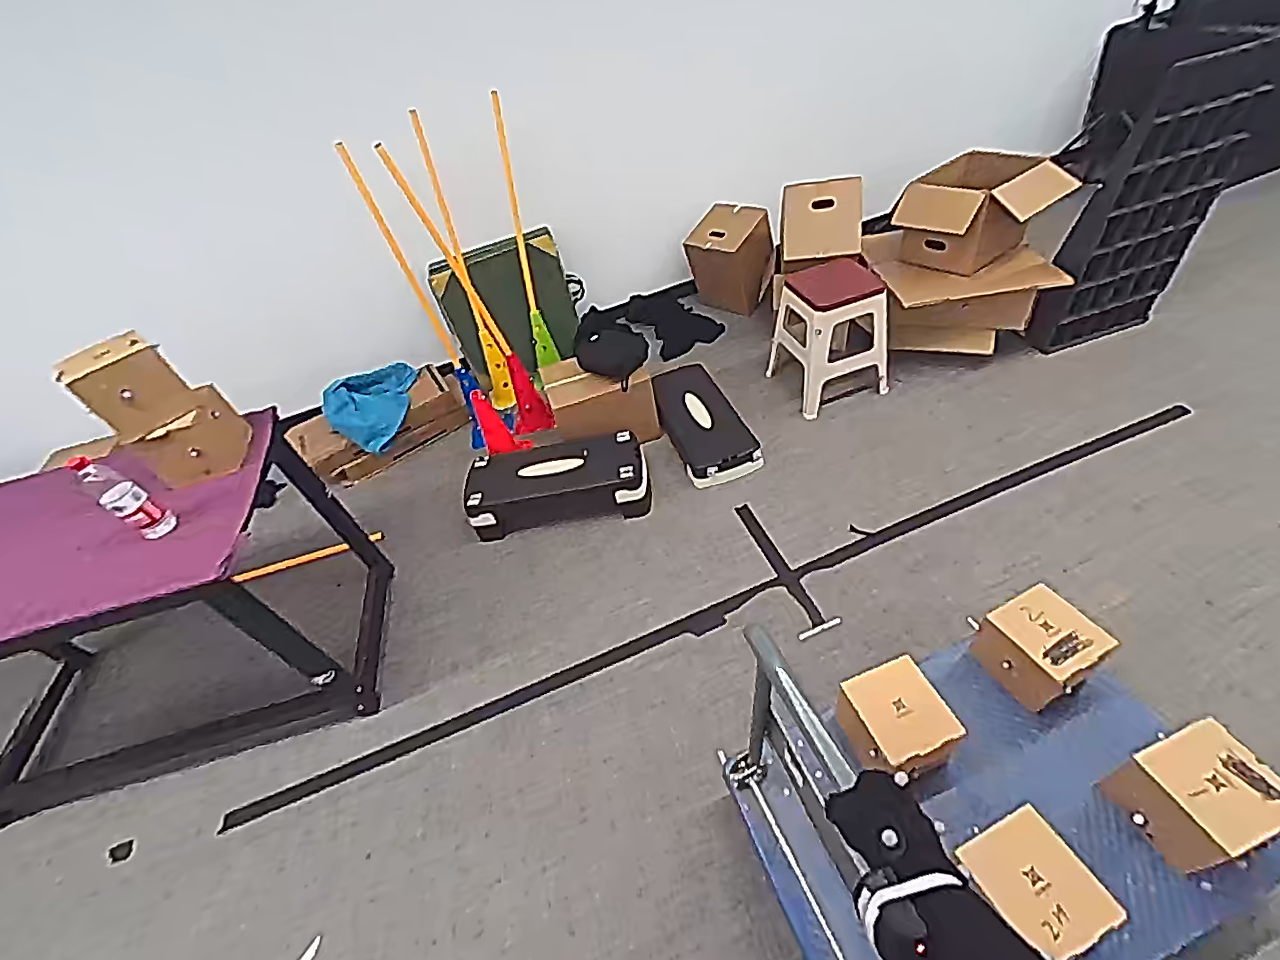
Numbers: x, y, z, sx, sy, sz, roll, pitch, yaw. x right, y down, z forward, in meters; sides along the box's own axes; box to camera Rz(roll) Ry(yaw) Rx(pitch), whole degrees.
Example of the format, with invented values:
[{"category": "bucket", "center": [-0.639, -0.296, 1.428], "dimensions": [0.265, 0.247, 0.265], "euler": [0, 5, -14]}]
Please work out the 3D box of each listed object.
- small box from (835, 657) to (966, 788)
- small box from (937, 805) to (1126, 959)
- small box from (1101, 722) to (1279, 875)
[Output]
[{"category": "small box", "center": [0.532, 0.510, 1.136], "dimensions": [0.168, 0.176, 0.179], "euler": [-20, 46, -7]}, {"category": "small box", "center": [0.645, 0.701, 0.920], "dimensions": [0.168, 0.176, 0.179], "euler": [-23, 45, -9]}, {"category": "small box", "center": [0.992, 0.570, 0.966], "dimensions": [0.179, 0.176, 0.168], "euler": [-21, 45, -6]}]
